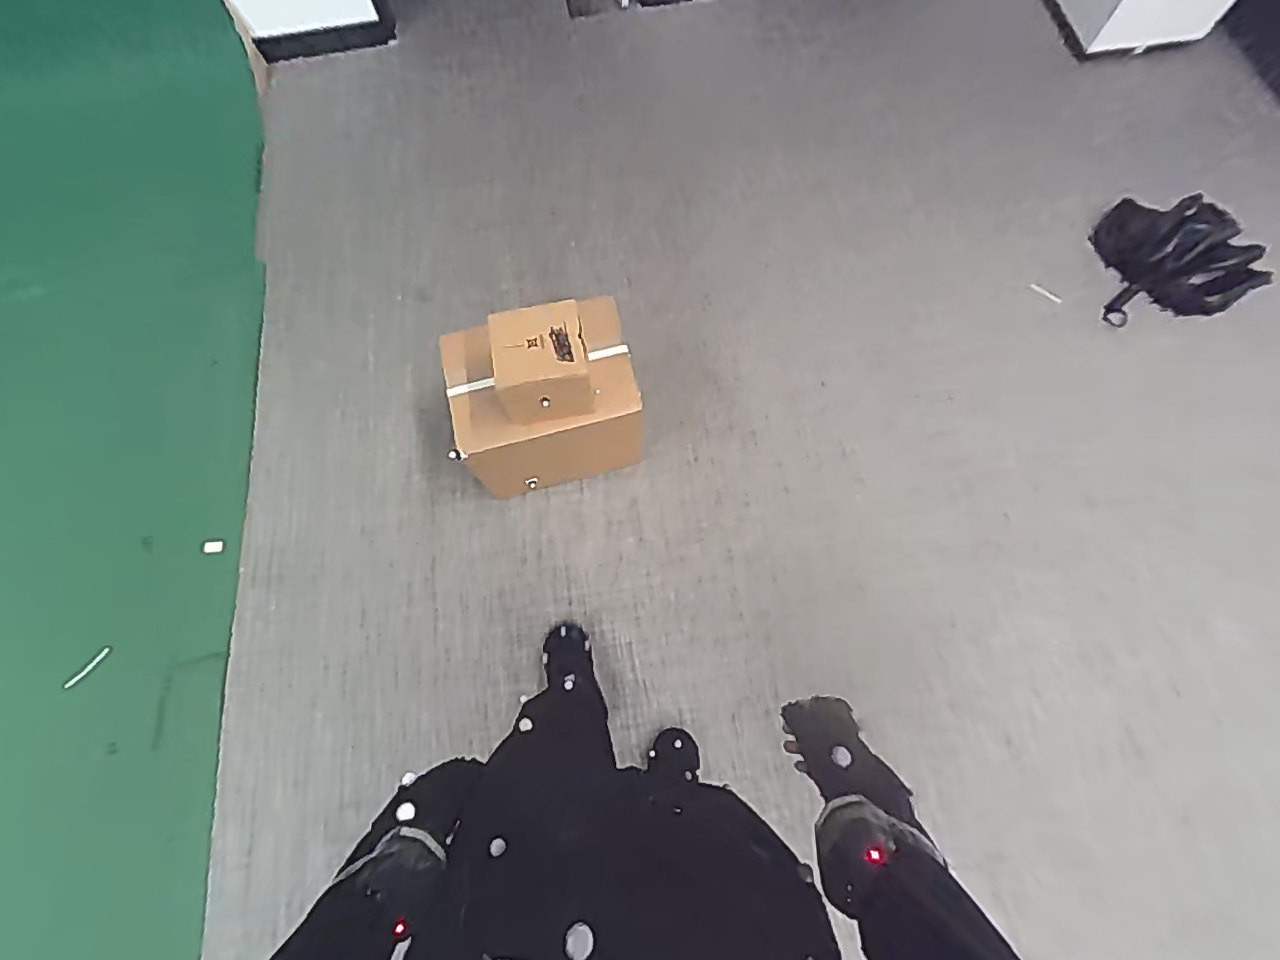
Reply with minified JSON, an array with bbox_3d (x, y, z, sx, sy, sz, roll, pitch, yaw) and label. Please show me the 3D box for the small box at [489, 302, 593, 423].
[{"bbox_3d":[-0.192,-0.231,1.095,0.179,0.176,0.168,-10,72,-1],"label":"small box"}]
